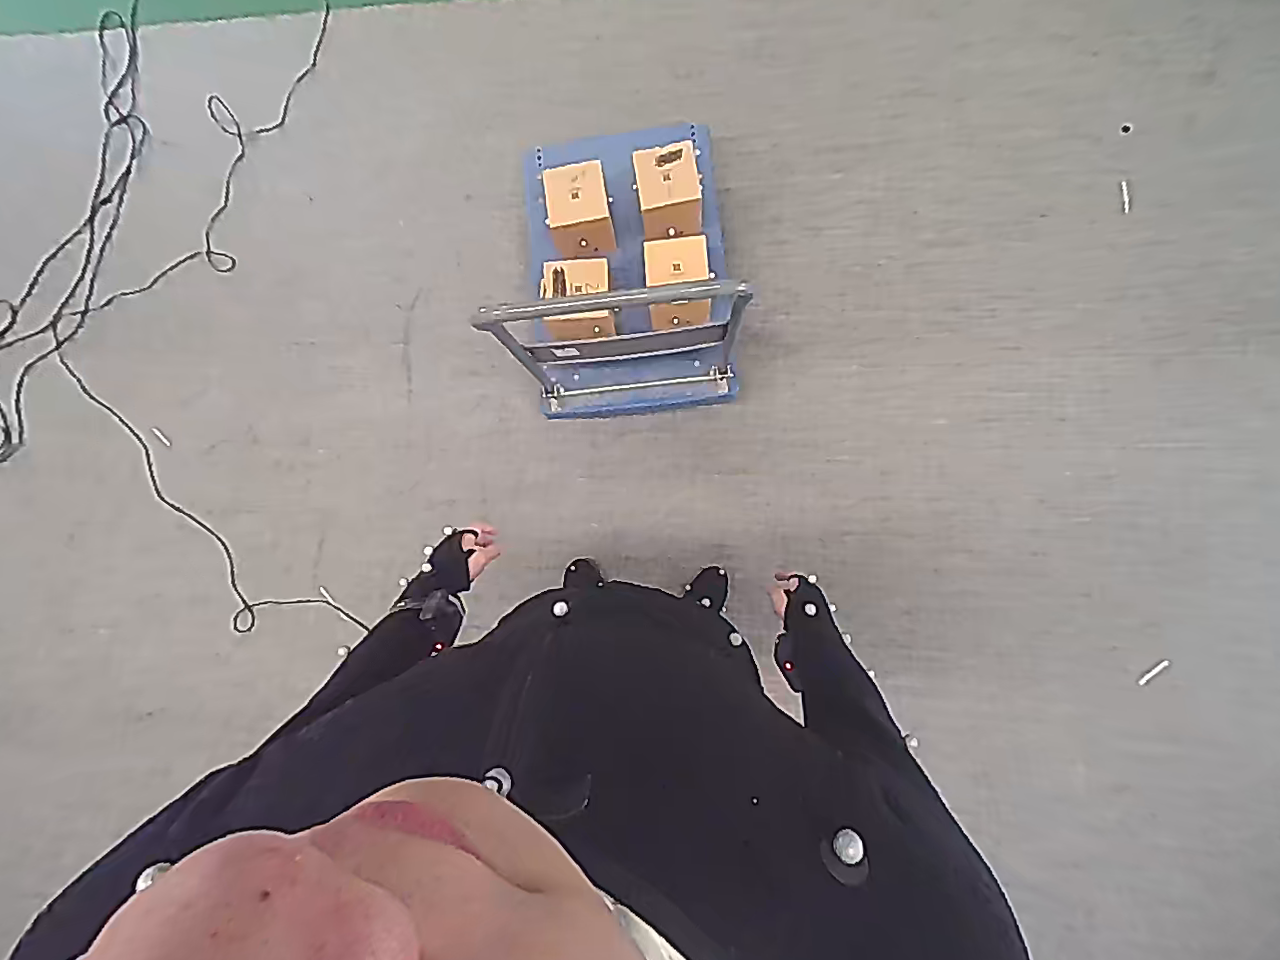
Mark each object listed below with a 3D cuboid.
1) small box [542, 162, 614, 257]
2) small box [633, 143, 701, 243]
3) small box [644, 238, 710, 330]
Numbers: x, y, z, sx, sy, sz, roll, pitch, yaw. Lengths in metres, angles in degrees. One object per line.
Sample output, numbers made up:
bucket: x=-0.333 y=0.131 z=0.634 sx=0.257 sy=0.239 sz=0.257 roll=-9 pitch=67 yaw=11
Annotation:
small box: x=-0.171 y=-0.759 z=1.543 sx=0.168 sy=0.176 sz=0.179 roll=-9 pitch=82 yaw=3
small box: x=0.077 y=-0.802 z=1.525 sx=0.168 sy=0.176 sz=0.179 roll=-9 pitch=83 yaw=5
small box: x=0.101 y=-0.534 z=1.491 sx=0.168 sy=0.176 sz=0.179 roll=-5 pitch=83 yaw=4
